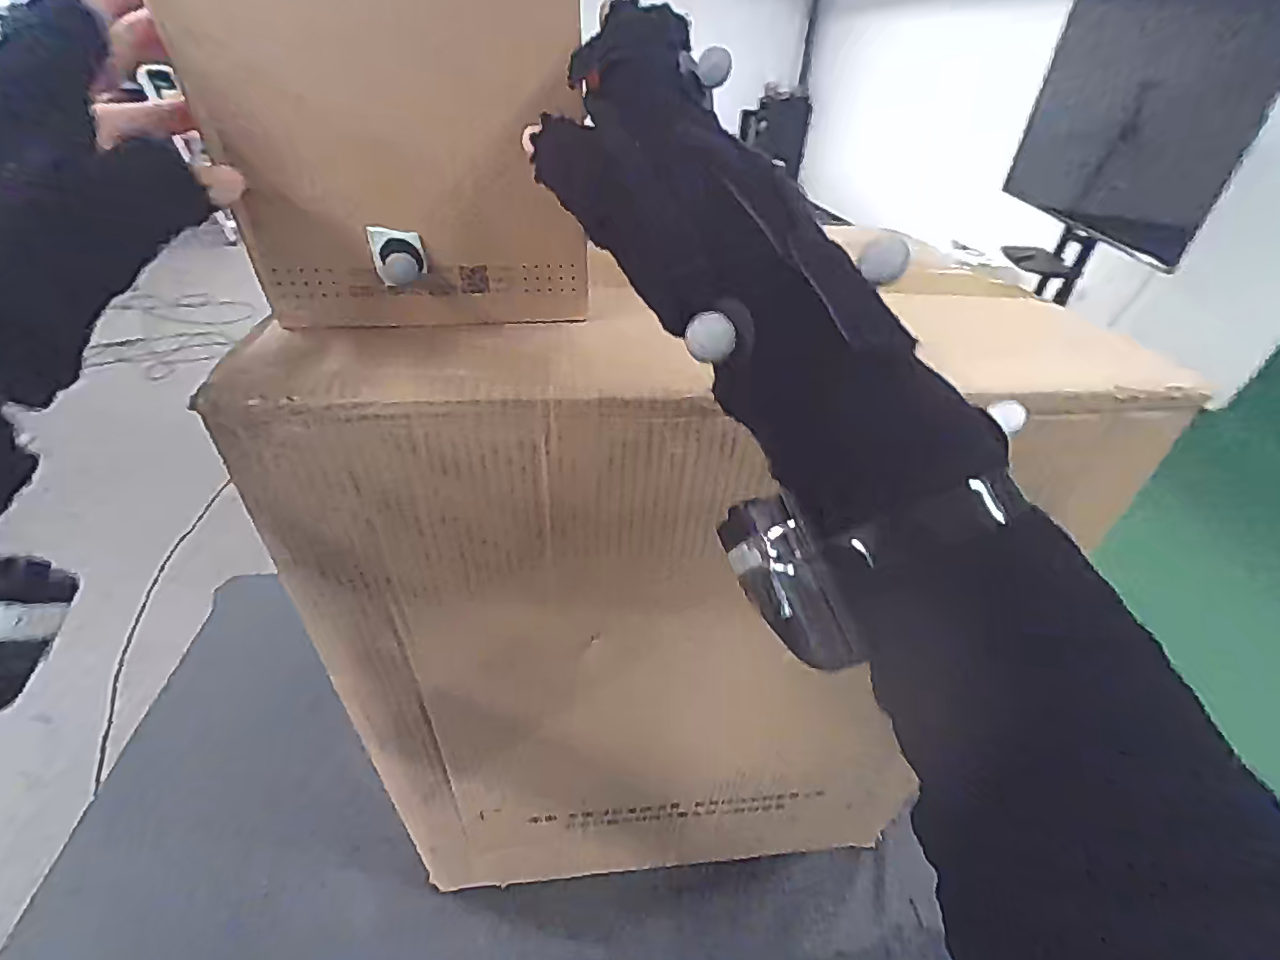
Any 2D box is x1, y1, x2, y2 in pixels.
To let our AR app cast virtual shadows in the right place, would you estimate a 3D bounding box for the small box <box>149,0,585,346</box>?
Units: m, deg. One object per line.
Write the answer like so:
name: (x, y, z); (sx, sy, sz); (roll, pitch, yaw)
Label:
small box: (-0.125, -0.194, 0.314); (0.168, 0.176, 0.179); (-7, 41, -9)
